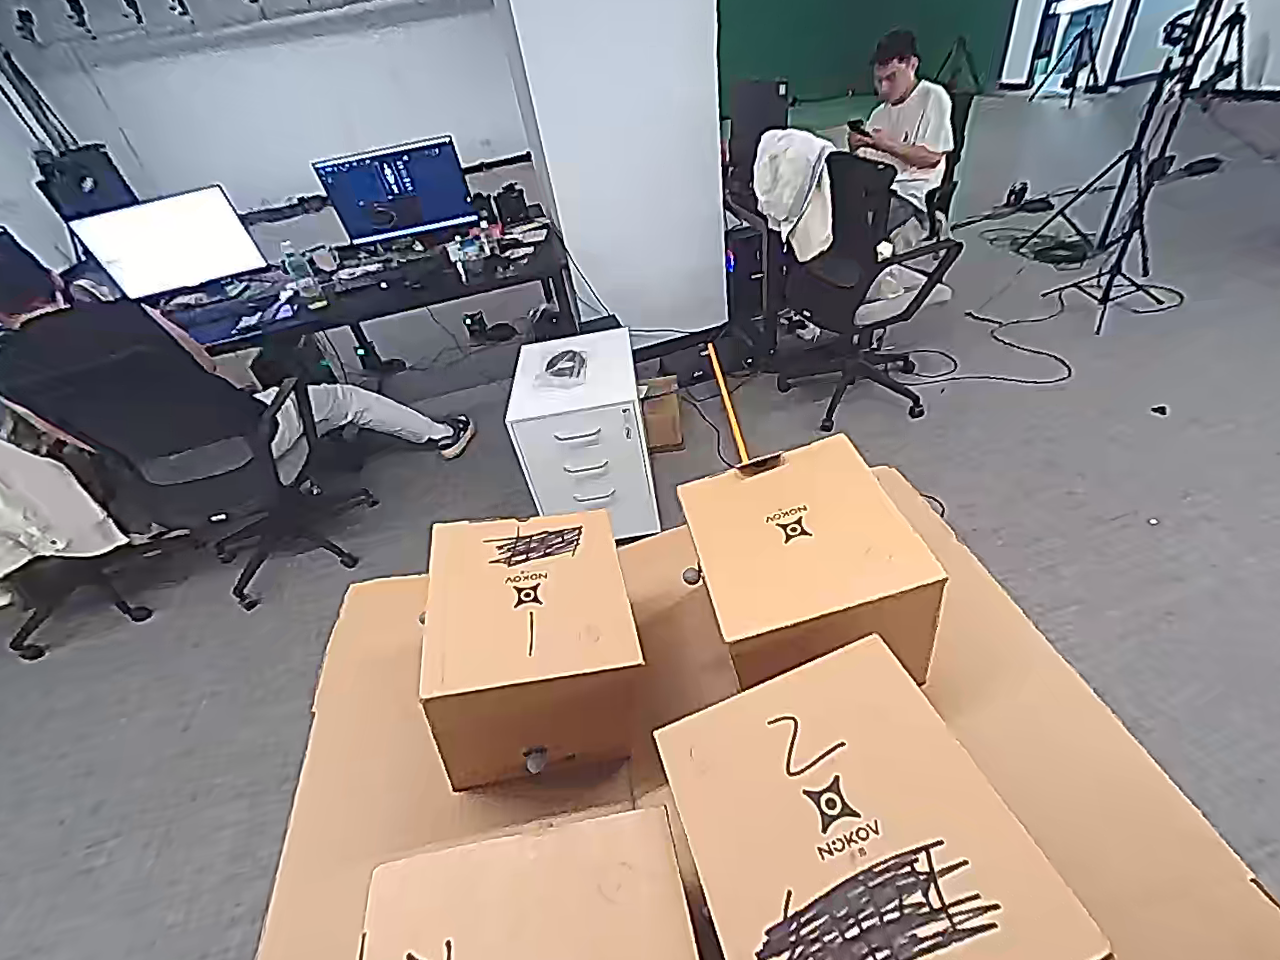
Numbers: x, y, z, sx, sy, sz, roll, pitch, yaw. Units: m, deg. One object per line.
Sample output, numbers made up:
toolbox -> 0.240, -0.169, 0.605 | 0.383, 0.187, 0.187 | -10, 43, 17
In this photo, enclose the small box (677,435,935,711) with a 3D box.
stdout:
small box -> 0.147, 0.093, 0.506 | 0.168, 0.176, 0.179 | -18, 41, 4
